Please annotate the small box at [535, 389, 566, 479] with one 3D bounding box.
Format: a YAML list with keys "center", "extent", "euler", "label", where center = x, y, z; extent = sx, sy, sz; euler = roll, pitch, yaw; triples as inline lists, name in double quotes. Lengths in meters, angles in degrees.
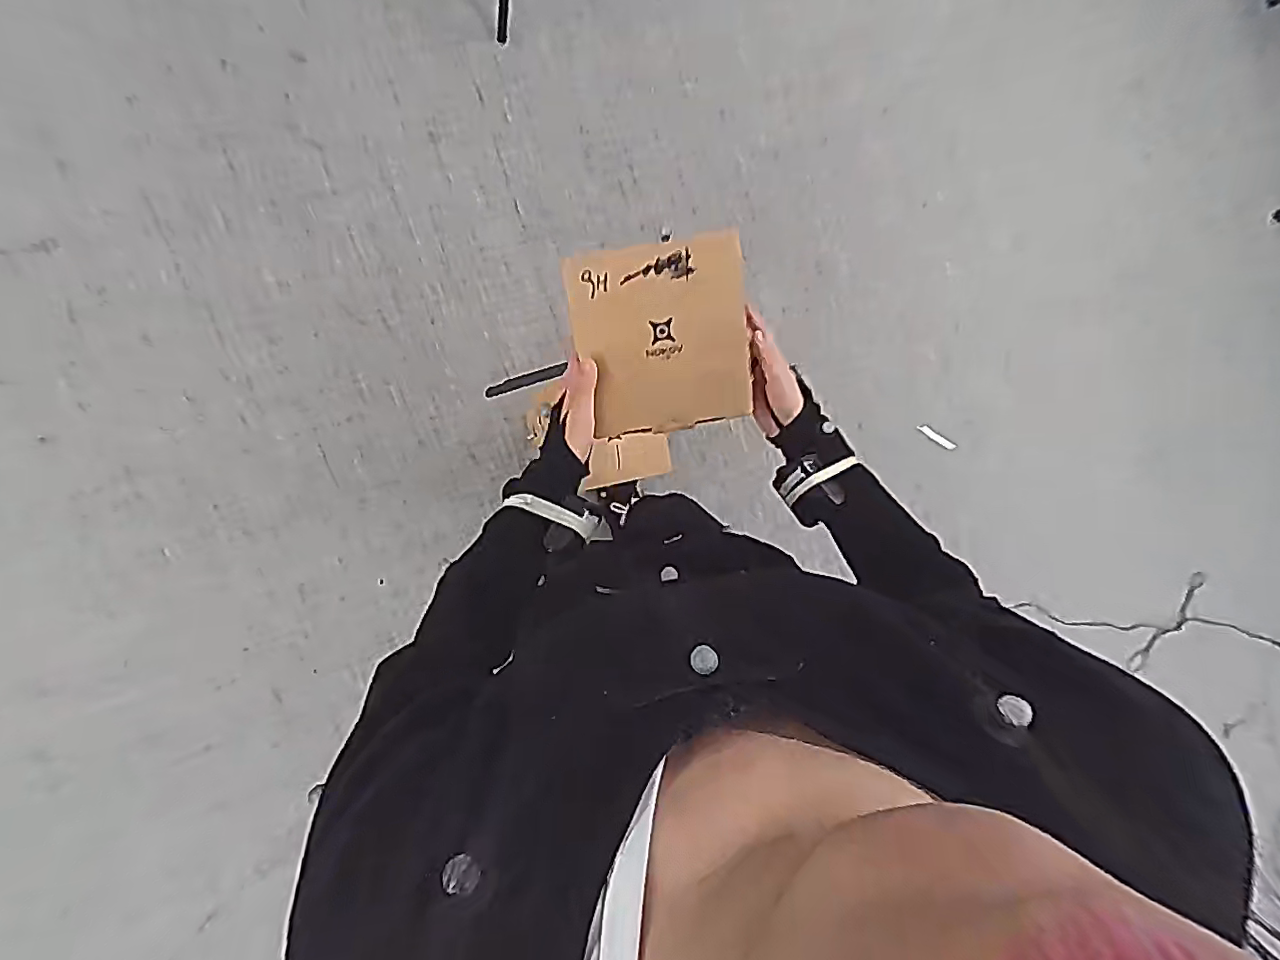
- center: [-0.110, -0.101, 1.072]
  extent: [0.179, 0.176, 0.168]
  euler: [-12, 98, -13]
  label: "small box"

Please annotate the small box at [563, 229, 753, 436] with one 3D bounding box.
- center: [0.020, -0.166, 0.586]
  extent: [0.168, 0.176, 0.179]
  euler: [-9, 113, 1]
  label: "small box"

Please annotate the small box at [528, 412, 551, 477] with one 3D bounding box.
- center: [-0.184, -0.110, 1.391]
  extent: [0.179, 0.176, 0.168]
  euler: [-12, 97, -13]
  label: "small box"

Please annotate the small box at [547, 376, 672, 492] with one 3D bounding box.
- center: [-0.058, -0.087, 0.916]
  extent: [0.168, 0.176, 0.179]
  euler: [-12, 98, -12]
  label: "small box"
